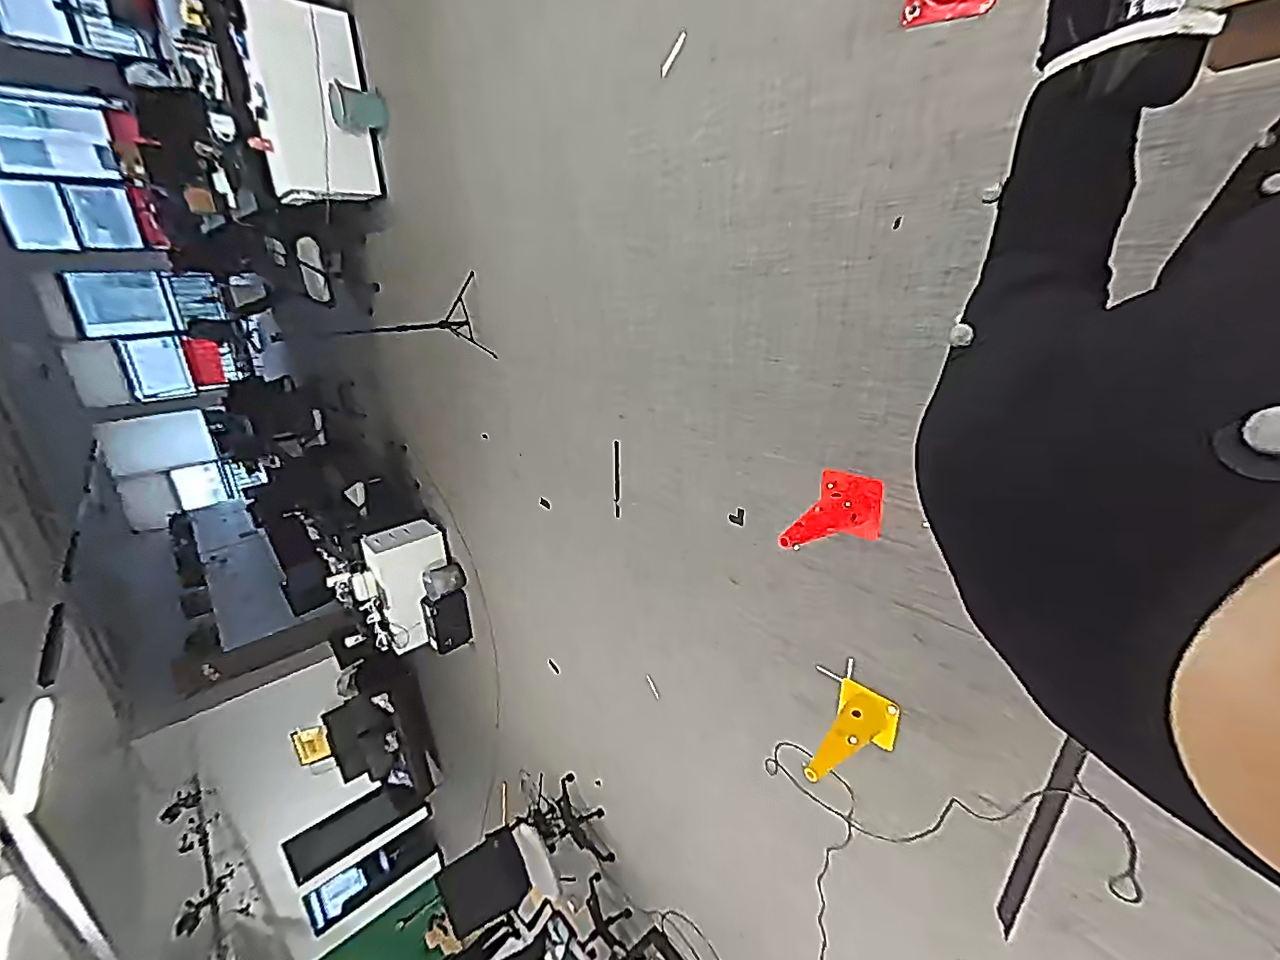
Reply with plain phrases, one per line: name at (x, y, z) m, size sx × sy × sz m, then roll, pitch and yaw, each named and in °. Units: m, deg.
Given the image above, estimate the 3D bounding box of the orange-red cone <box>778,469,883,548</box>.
orange-red cone at (0.528, 0.122, 1.582) m, size 0.198 × 0.360 × 0.199 m, roll 20°, pitch 122°, yaw 46°

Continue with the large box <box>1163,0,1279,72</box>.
large box at (0.562, -0.453, 0.248) m, size 0.408 × 0.320 × 0.320 m, roll 17°, pitch 122°, yaw 45°

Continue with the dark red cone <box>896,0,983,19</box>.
dark red cone at (0.530, -1.052, 1.024) m, size 0.201 × 0.394 × 0.202 m, roll 28°, pitch 126°, yaw 40°
